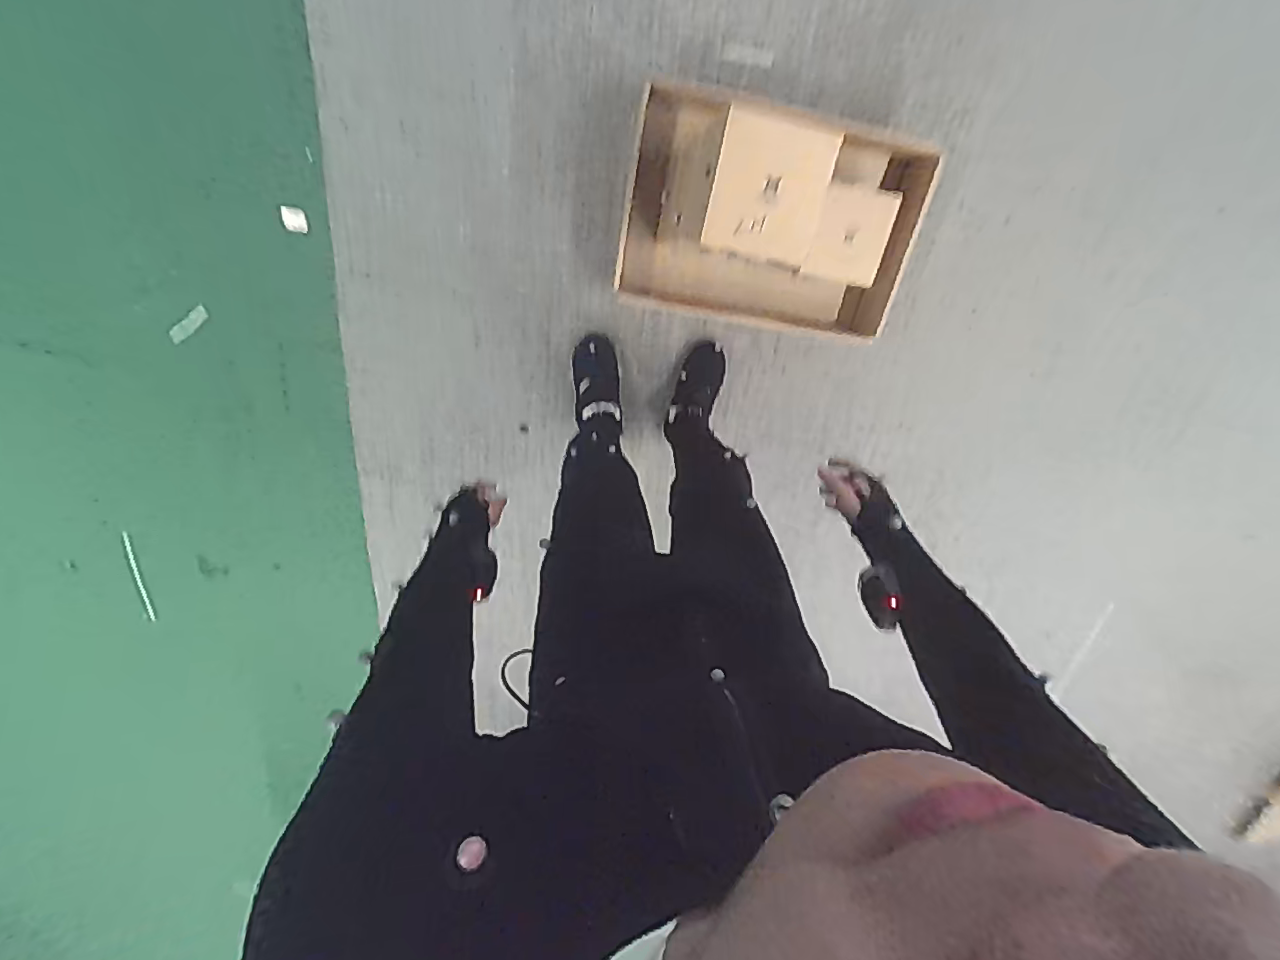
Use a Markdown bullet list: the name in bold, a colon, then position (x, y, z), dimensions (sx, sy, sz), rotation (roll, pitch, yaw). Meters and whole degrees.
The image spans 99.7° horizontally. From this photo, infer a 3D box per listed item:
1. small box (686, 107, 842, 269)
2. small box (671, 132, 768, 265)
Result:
- **small box**: position (0.176, -0.436, 0.832), dimensions (0.168, 0.176, 0.179), rotation (8, 114, -9)
- **small box**: position (0.158, -0.501, 0.982), dimensions (0.168, 0.176, 0.179), rotation (8, 114, -9)
